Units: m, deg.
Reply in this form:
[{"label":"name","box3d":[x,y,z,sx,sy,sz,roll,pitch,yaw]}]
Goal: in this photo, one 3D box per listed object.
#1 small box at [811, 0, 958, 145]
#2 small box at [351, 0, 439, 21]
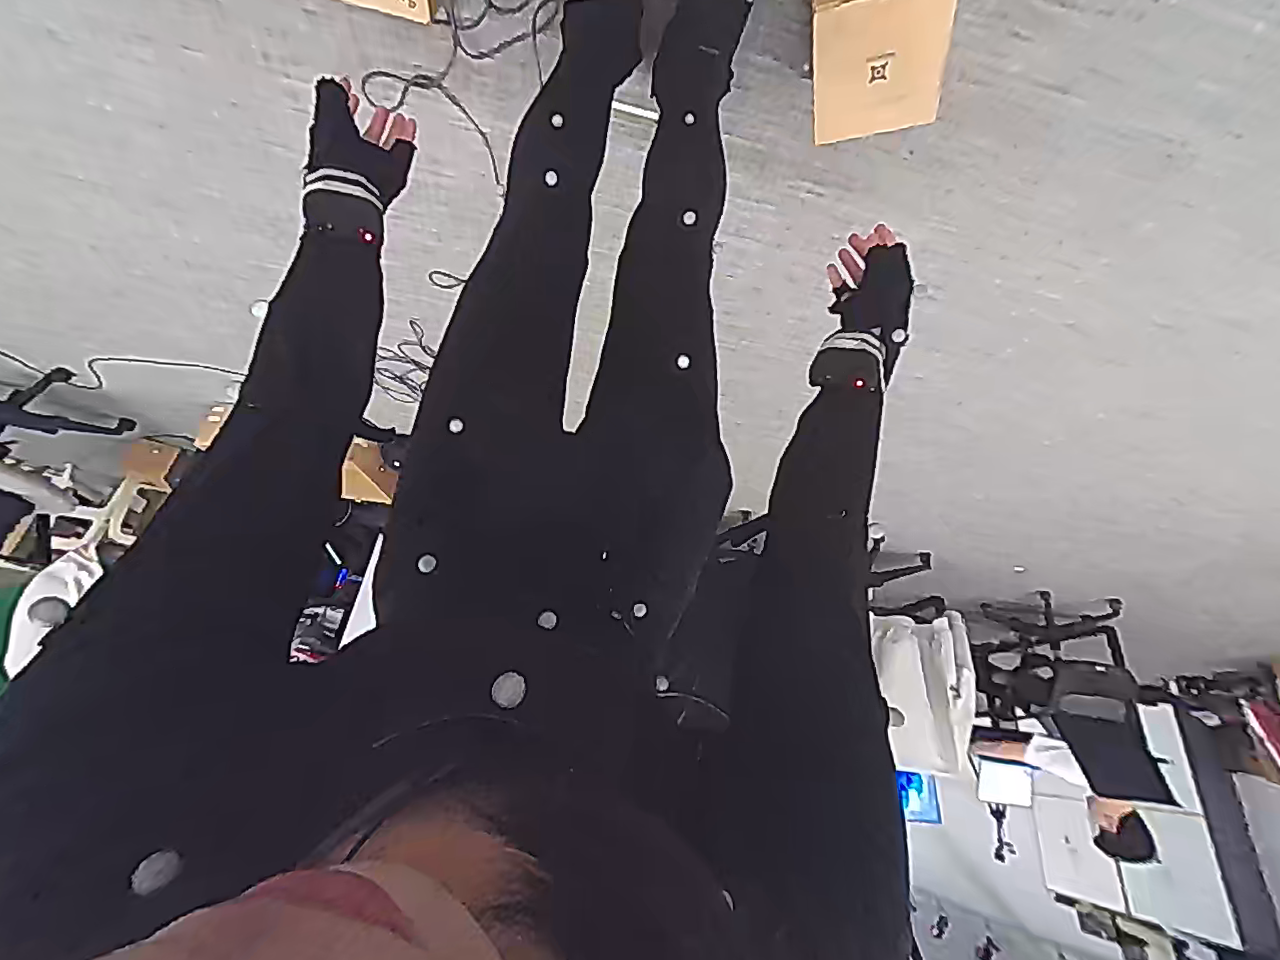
[{"label":"small box","box3d":[0.322,-0.610,0.742,0.168,0.176,0.179,0,154,18]},{"label":"small box","box3d":[-0.334,-0.727,0.665,0.168,0.176,0.179,11,151,-7]}]
